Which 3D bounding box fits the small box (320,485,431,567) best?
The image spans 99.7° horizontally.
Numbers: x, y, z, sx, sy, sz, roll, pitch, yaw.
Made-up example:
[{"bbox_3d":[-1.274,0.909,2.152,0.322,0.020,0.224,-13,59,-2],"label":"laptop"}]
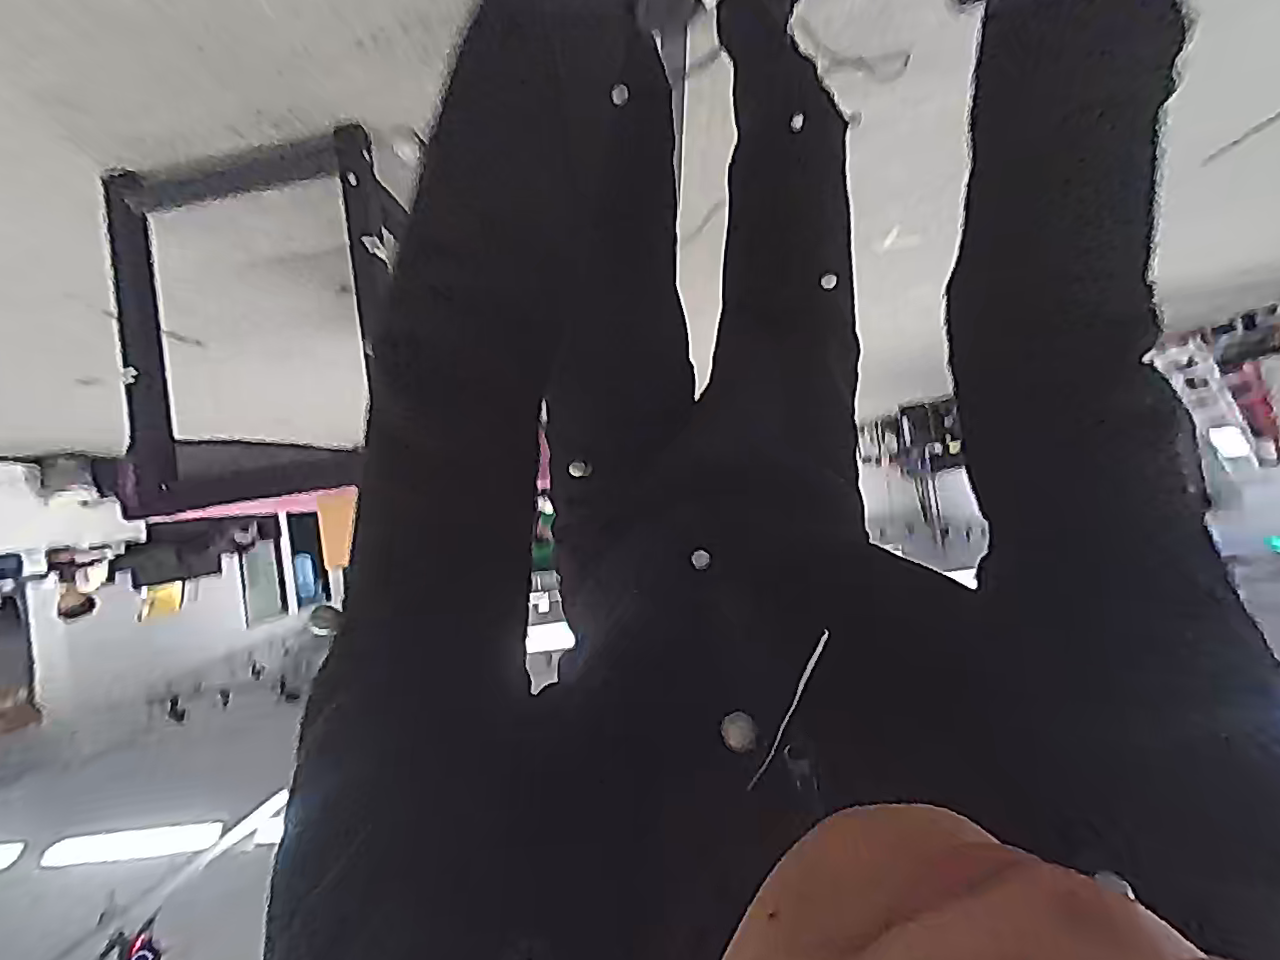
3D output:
[{"bbox_3d":[-0.639,0.104,1.309,0.179,0.176,0.168,-9,179,11],"label":"small box"}]
